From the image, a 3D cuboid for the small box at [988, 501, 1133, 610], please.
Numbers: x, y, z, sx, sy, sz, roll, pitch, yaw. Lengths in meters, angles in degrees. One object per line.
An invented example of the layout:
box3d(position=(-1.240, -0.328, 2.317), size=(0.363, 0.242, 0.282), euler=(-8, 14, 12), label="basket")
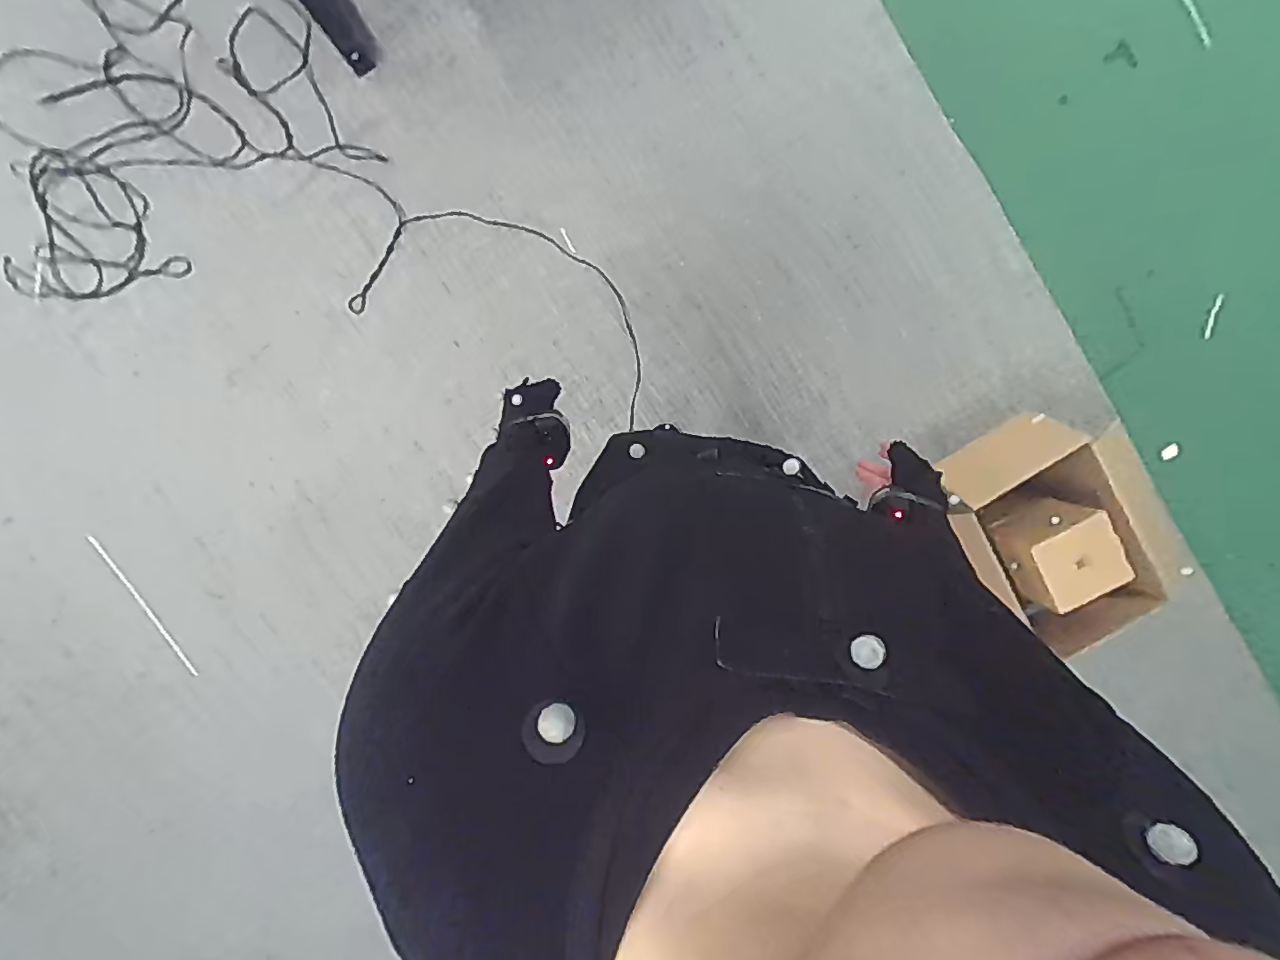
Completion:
box3d(position=(0.933, 0.163, 1.223), size=(0.179, 0.176, 0.168), euler=(-28, 94, 2), label="small box")
